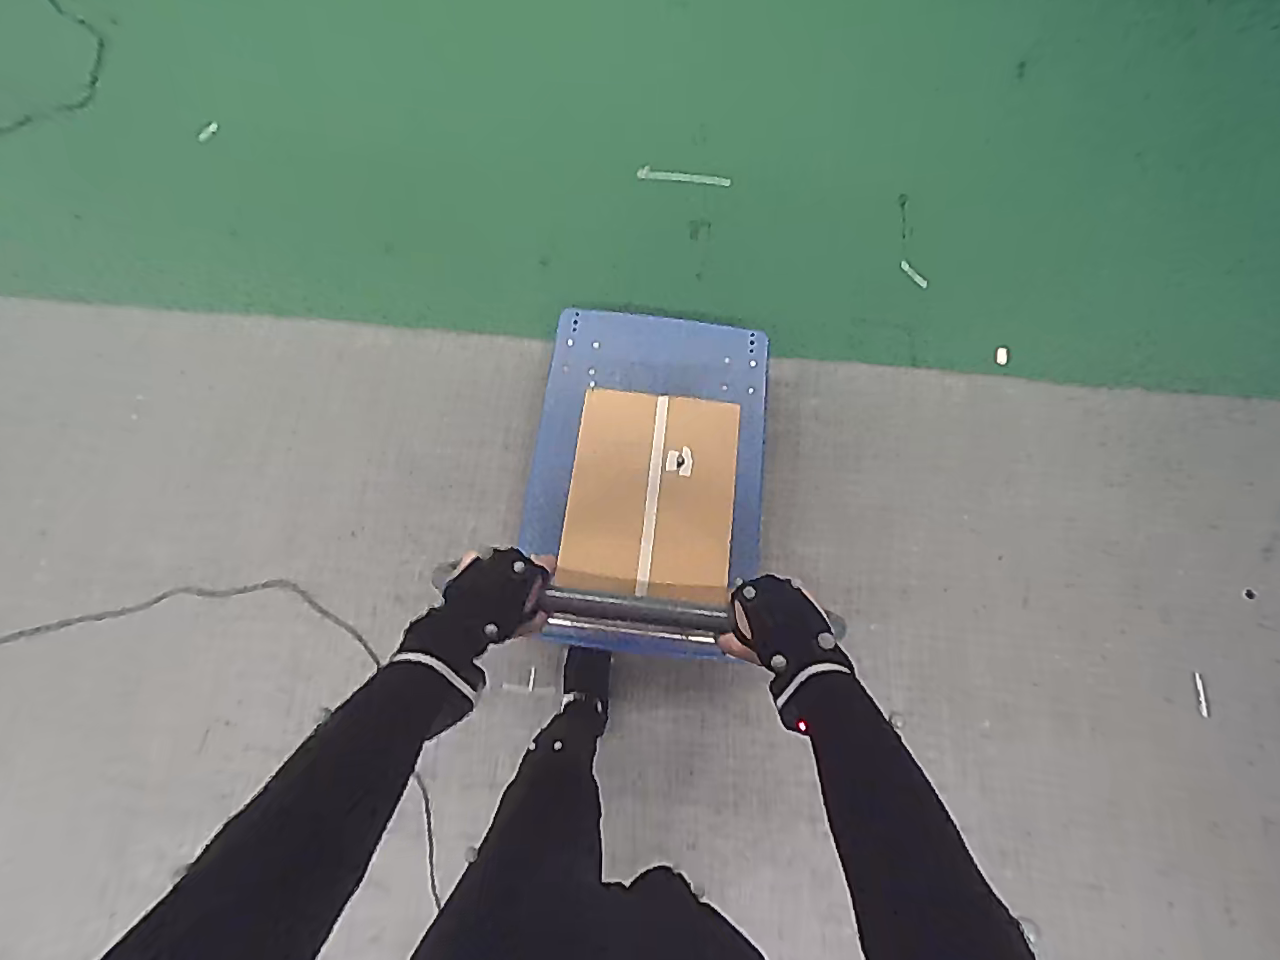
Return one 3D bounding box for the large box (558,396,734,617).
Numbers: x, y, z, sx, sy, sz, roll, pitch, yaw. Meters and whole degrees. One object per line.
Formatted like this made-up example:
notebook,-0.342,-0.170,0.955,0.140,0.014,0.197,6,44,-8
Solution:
large box,0.018,0.075,1.178,0.320,0.320,0.408,6,73,0
